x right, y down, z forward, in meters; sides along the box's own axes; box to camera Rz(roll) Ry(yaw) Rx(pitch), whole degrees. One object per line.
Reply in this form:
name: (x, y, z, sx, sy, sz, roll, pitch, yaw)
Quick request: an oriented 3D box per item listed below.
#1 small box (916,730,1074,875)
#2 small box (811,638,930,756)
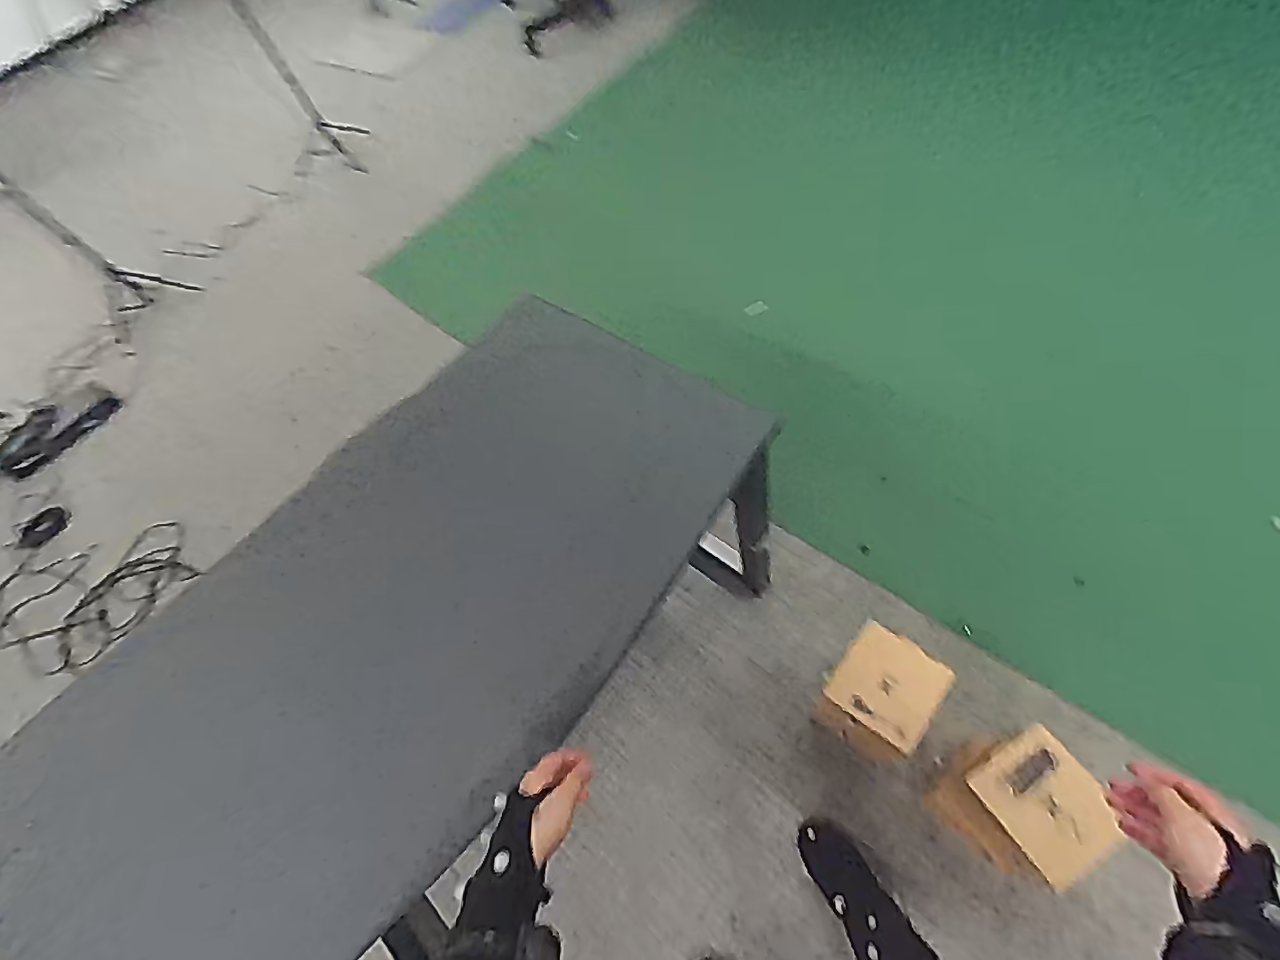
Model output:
small box: (0.682, 0.622, 1.062, 0.168, 0.176, 0.179, -41, 60, -11)
small box: (0.498, 0.480, 1.189, 0.179, 0.176, 0.168, 31, 72, 28)
